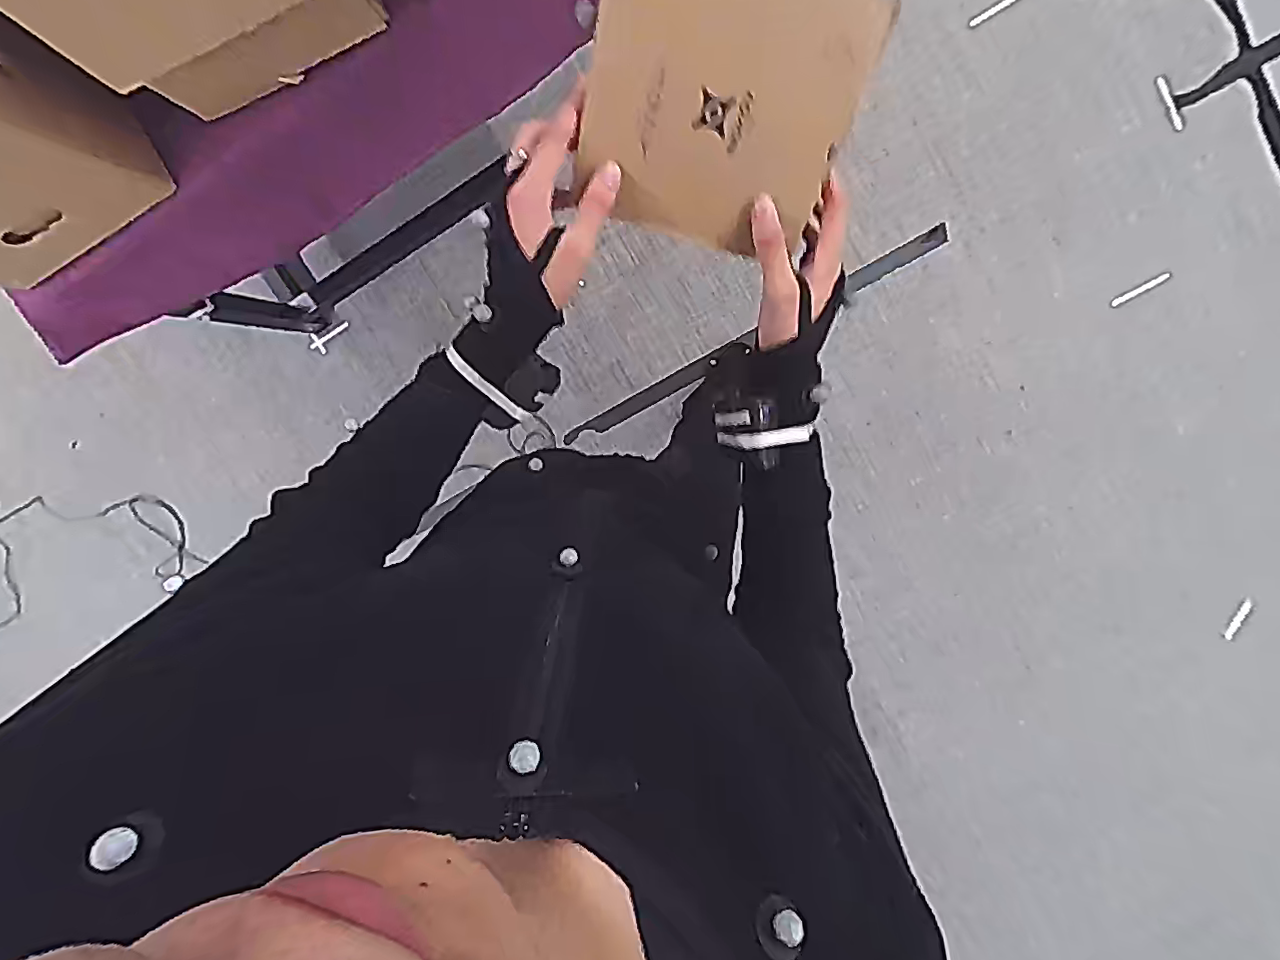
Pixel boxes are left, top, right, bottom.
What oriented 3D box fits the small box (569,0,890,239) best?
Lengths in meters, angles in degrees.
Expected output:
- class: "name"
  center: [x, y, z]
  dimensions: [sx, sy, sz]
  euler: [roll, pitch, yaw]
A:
- class: "small box"
  center: [0.047, -0.313, 0.411]
  dimensions: [0.179, 0.176, 0.168]
  euler: [8, 133, -12]
